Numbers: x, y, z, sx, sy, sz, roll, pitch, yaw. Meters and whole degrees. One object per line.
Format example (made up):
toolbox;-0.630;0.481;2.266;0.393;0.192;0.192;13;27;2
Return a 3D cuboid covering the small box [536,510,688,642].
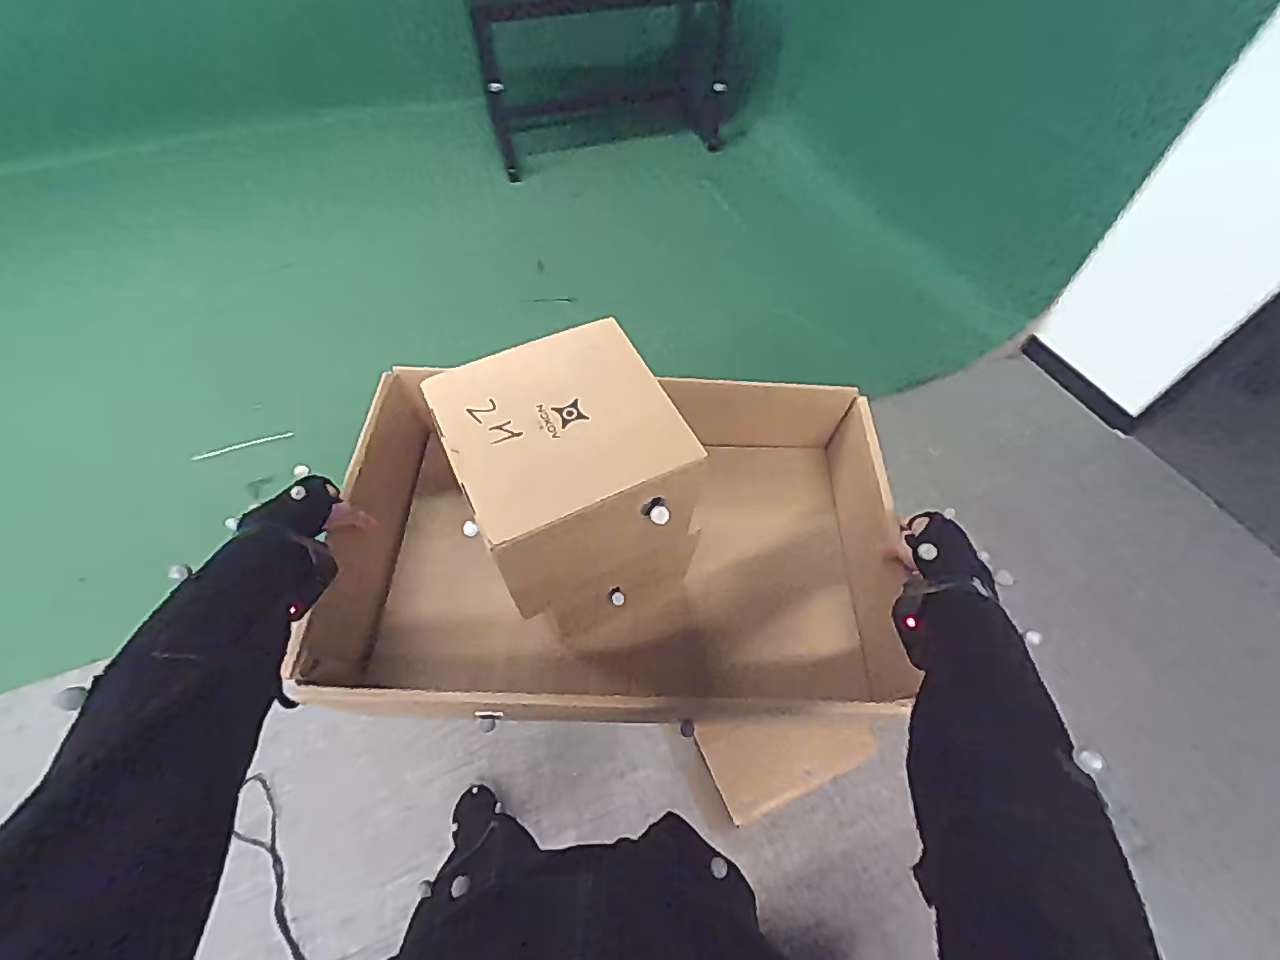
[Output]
small box;-0.064;0.065;0.633;0.179;0.176;0.168;-25;64;-17

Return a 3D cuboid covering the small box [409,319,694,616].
small box;-0.074;-0.005;0.483;0.179;0.176;0.168;-24;62;-15
